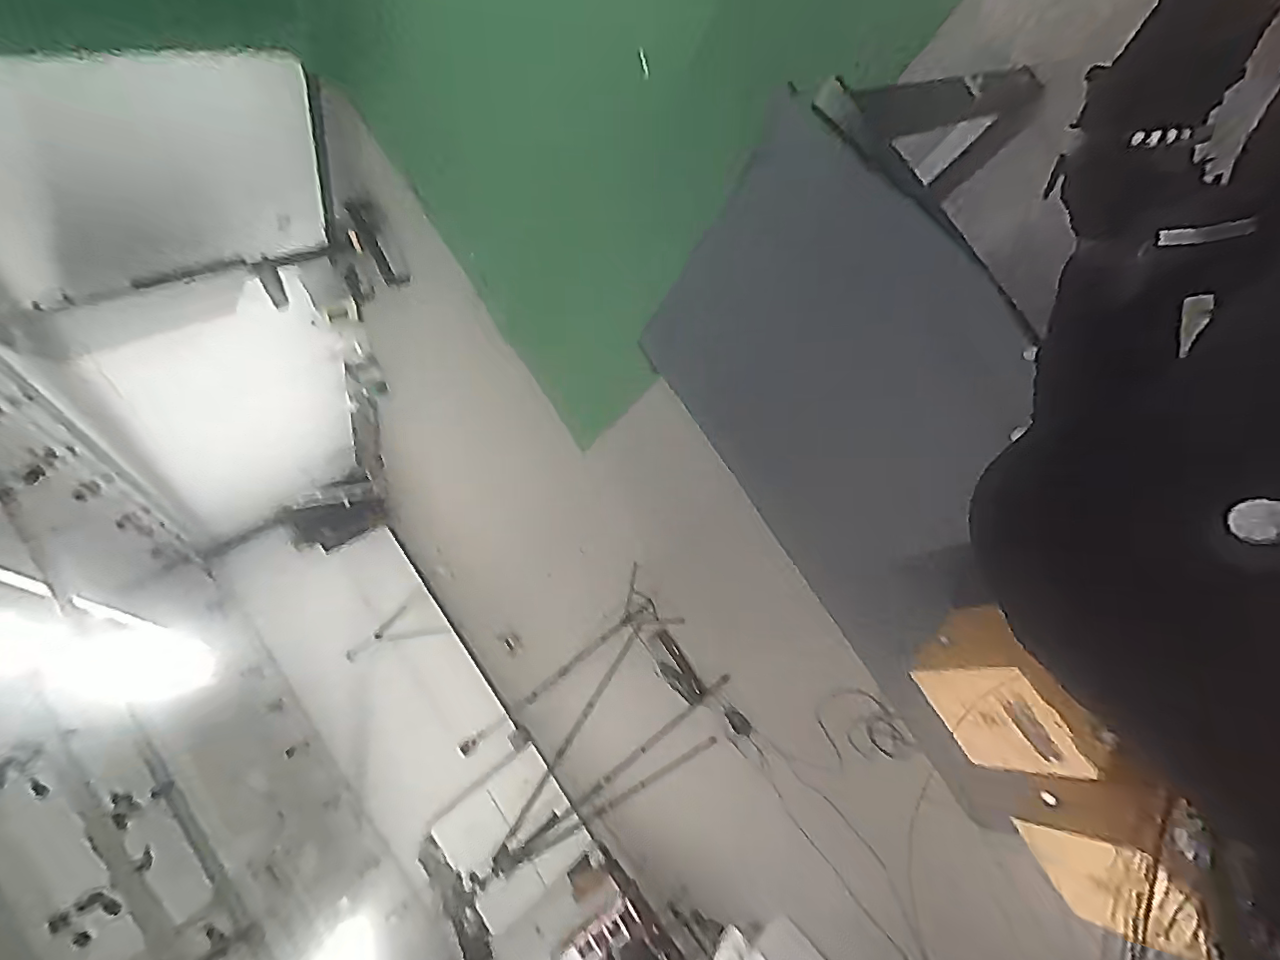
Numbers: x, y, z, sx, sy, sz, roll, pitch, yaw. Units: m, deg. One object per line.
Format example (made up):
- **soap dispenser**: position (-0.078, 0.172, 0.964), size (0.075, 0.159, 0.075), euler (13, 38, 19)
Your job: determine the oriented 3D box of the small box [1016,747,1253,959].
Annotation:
- **small box**: position (0.691, 0.507, 0.762), size (0.168, 0.176, 0.179), euler (57, 150, 3)
